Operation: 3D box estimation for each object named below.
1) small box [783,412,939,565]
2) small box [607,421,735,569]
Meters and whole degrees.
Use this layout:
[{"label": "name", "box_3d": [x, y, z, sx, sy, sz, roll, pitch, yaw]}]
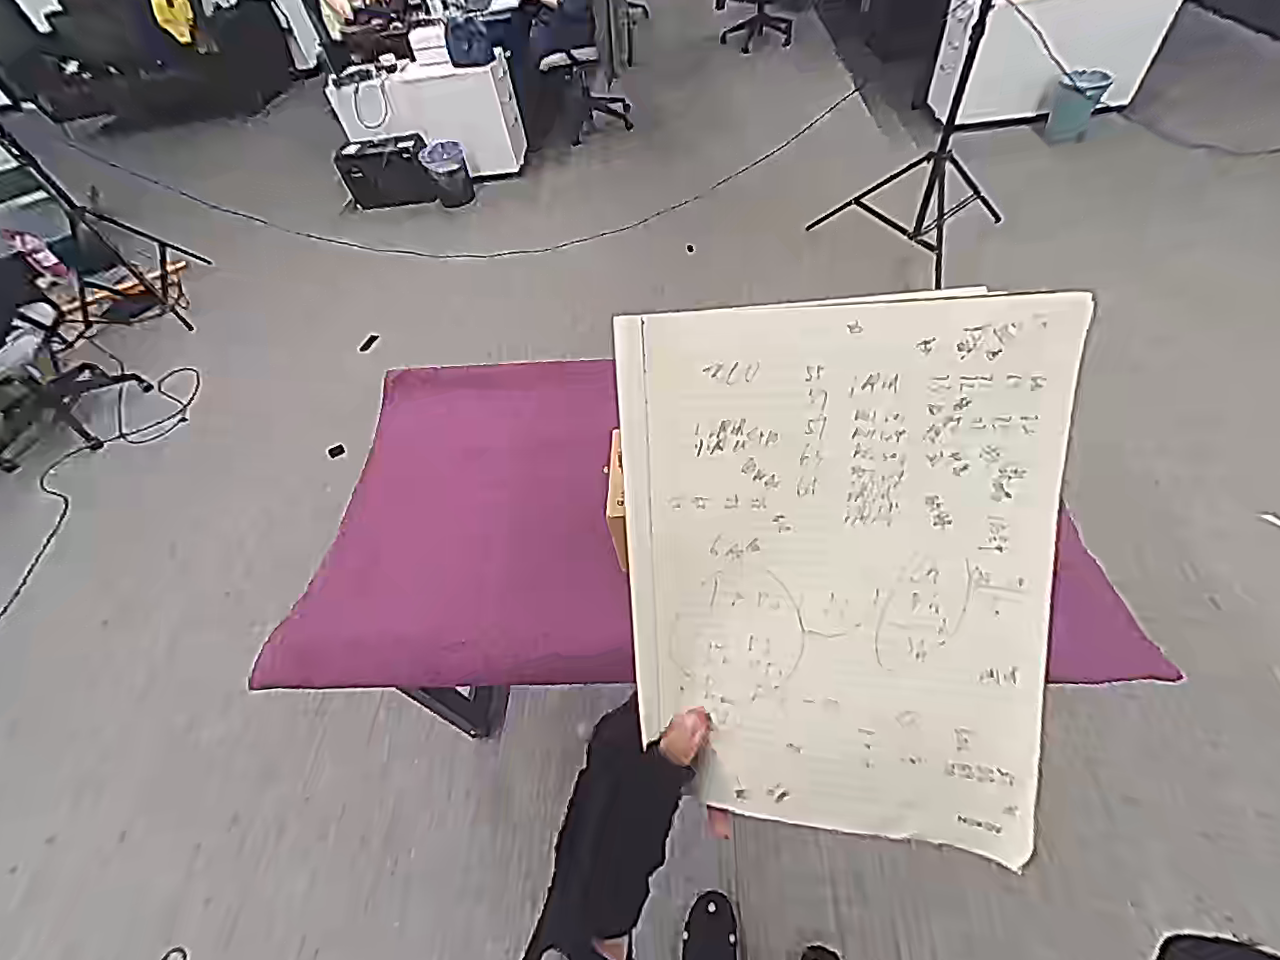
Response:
[{"label": "small box", "box_3d": [0.315, 0.016, 0.812, 0.179, 0.176, 0.168, -1, 50, 10]}, {"label": "small box", "box_3d": [0.052, 0.028, 0.842, 0.179, 0.176, 0.168, -2, 51, 6]}]
